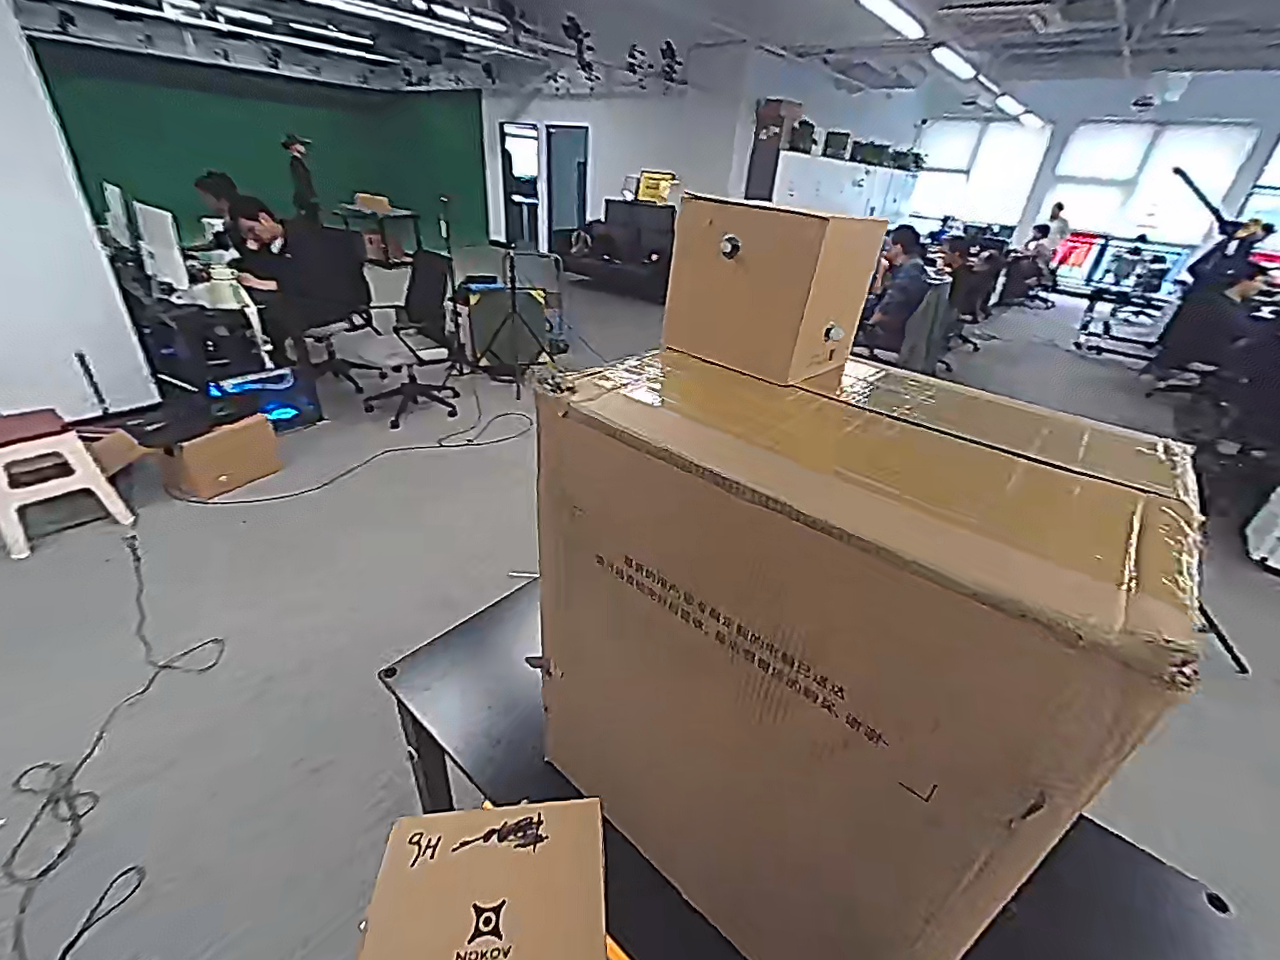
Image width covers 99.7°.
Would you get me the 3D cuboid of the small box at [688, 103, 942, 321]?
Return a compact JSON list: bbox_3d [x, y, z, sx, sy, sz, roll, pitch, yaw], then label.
[{"bbox_3d":[0.169,-0.269,0.555,0.179,0.176,0.168,28,36,32],"label":"small box"}]
